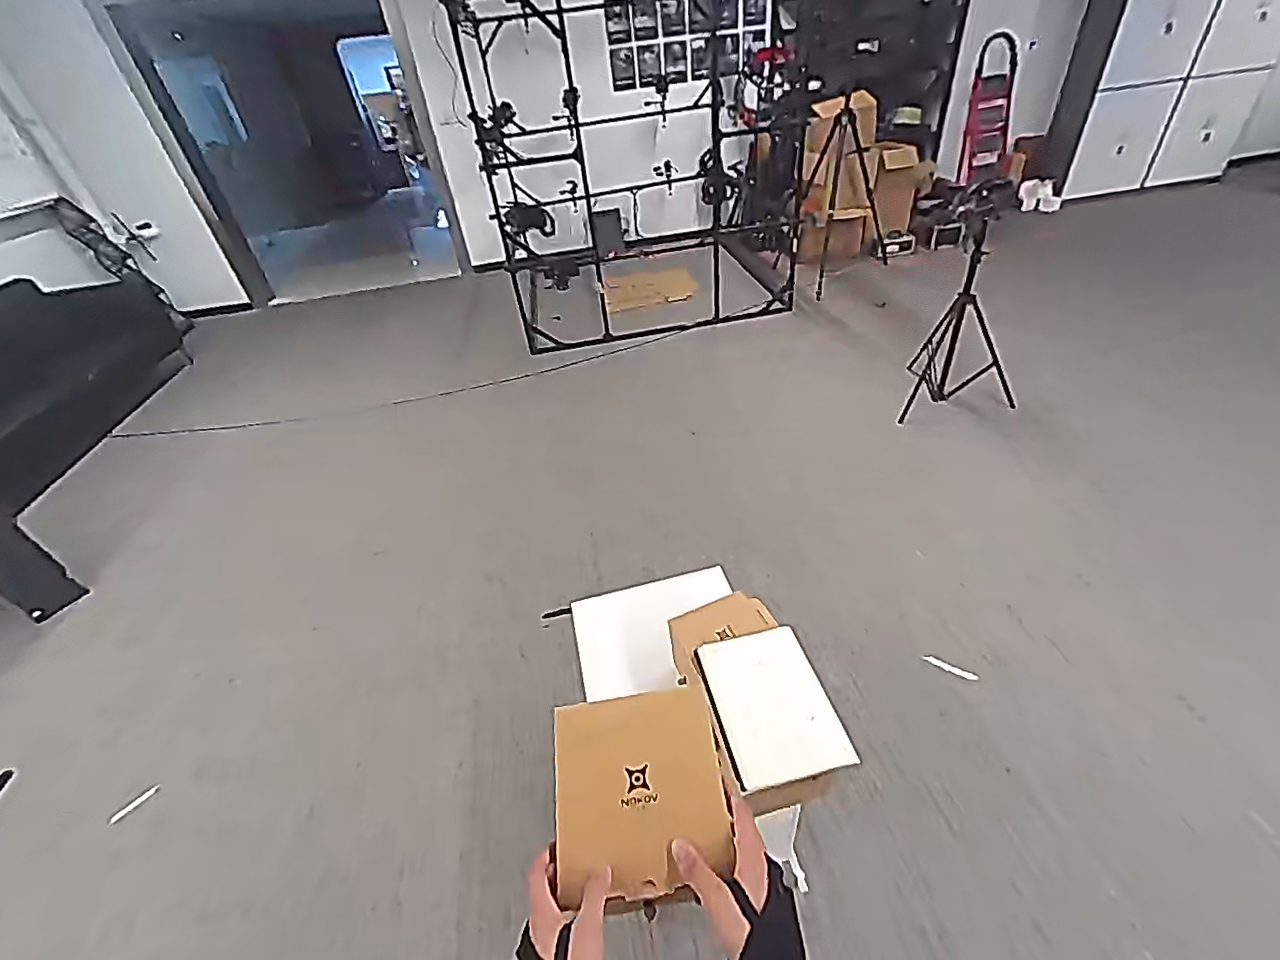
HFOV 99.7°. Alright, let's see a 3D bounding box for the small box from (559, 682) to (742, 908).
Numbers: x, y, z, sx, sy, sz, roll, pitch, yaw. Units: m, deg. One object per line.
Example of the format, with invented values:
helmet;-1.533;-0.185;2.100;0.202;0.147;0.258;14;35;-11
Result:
small box;0.009;0.347;0.593;0.168;0.176;0.179;-10;50;1
